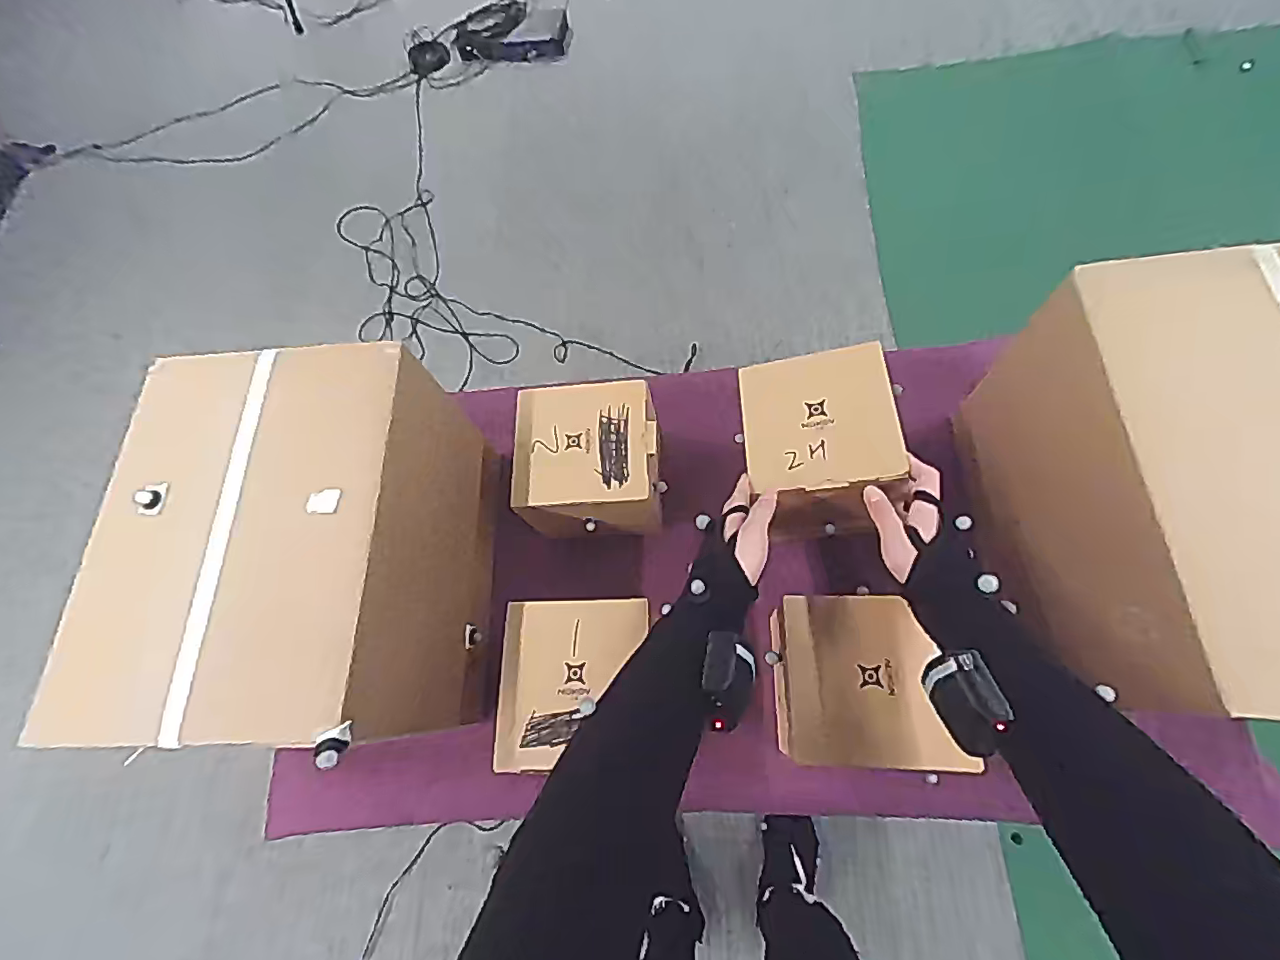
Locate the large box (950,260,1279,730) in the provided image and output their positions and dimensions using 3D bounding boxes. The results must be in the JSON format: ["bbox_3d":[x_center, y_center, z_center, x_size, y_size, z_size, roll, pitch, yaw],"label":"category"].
[{"bbox_3d":[0.582,0.034,0.570,0.320,0.320,0.408,-3,69,8],"label":"large box"}]
